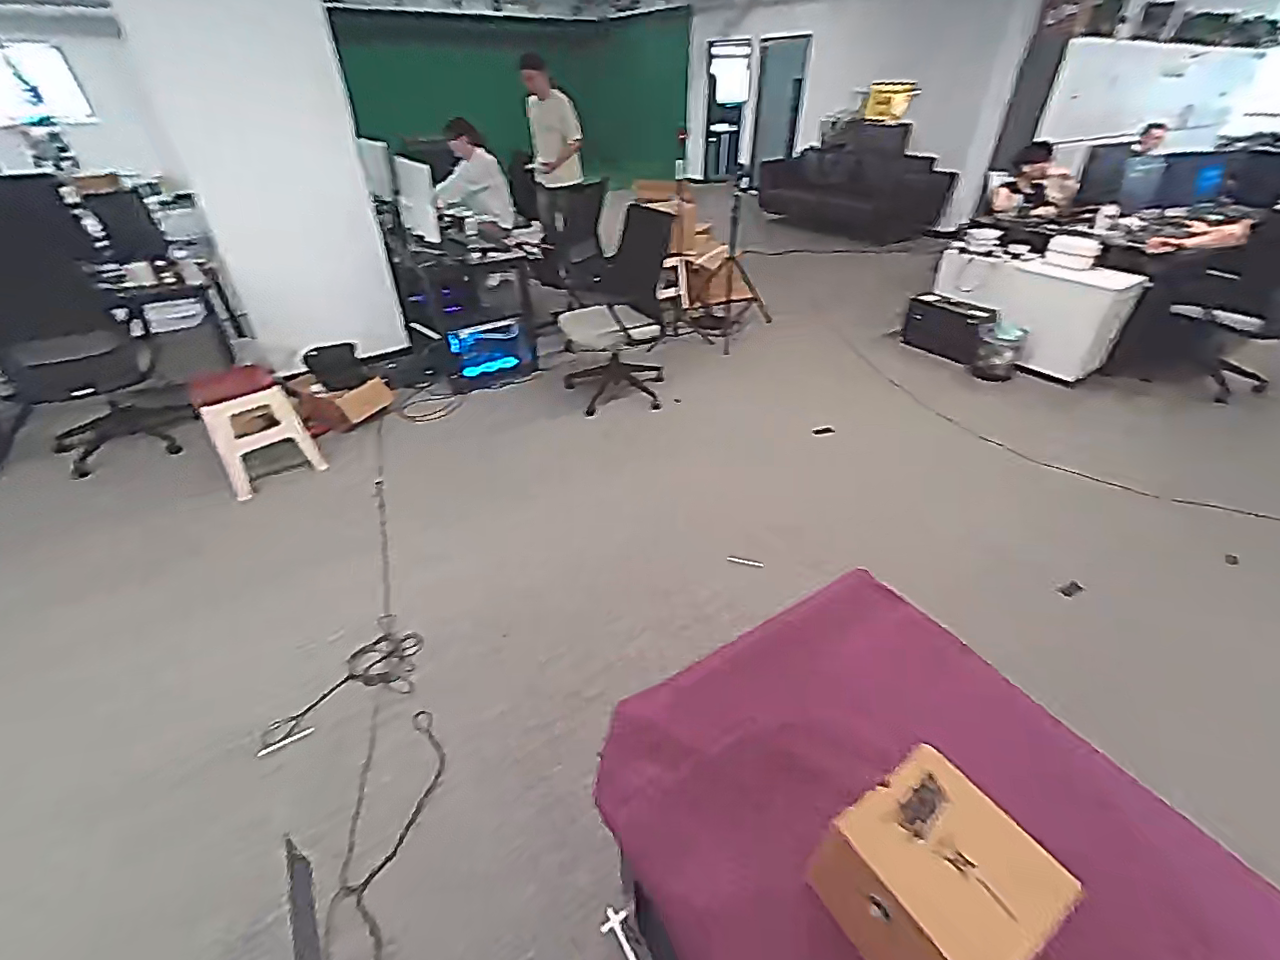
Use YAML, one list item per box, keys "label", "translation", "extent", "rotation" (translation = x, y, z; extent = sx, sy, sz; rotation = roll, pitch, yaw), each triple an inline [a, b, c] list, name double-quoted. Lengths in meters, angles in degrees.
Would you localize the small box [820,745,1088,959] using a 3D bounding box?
- label: "small box"
  translation: [0.329, 0.448, 0.603]
  extent: [0.168, 0.176, 0.179]
  rotation: [-21, 42, -25]
